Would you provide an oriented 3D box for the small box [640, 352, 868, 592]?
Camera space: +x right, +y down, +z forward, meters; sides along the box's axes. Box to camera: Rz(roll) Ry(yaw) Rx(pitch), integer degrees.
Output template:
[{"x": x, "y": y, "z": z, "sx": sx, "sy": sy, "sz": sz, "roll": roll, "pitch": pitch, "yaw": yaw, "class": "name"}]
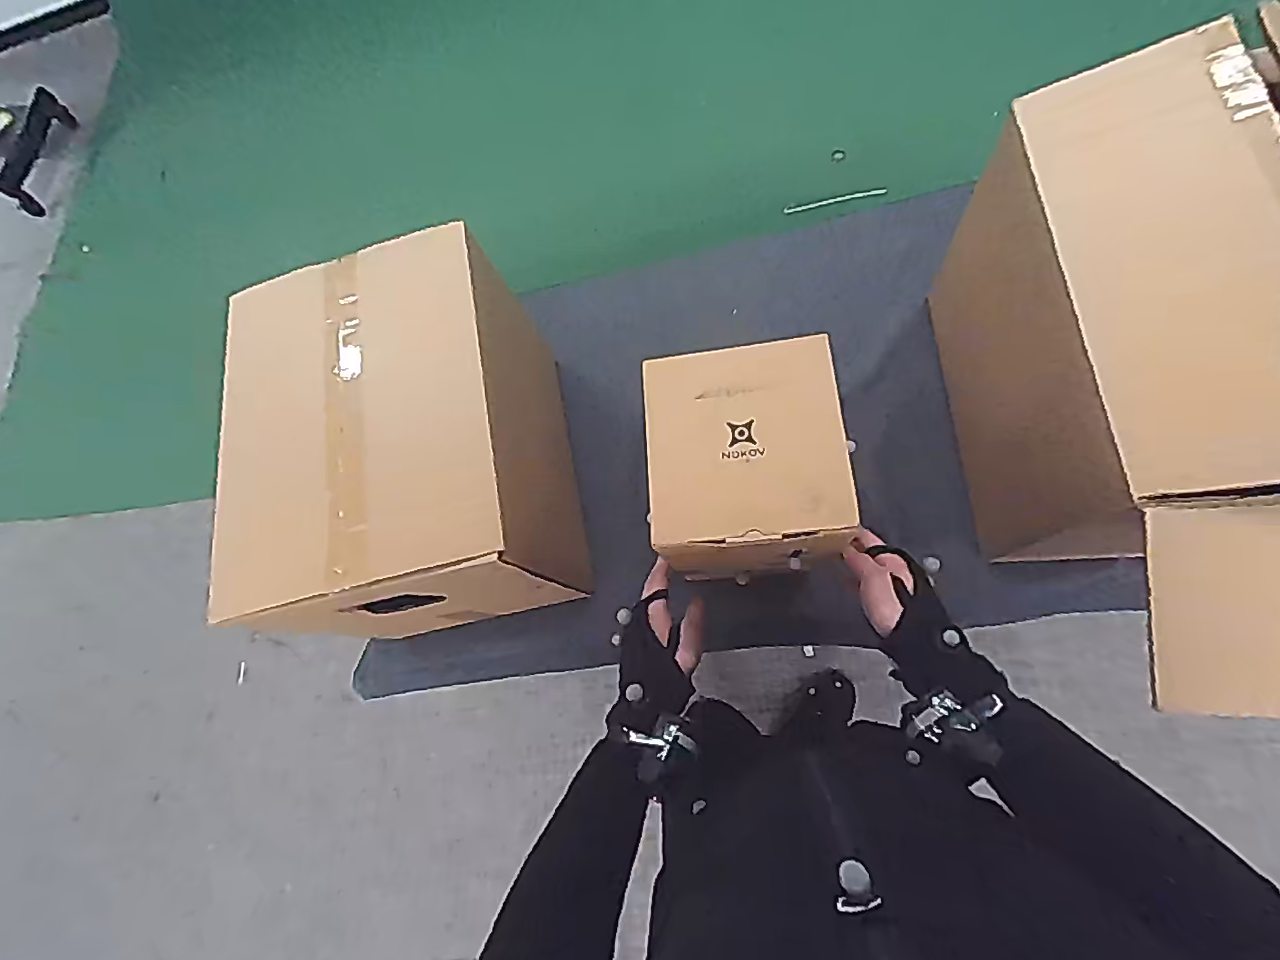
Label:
[{"x": 0.099, "y": 0.008, "z": 0.504, "sx": 0.168, "sy": 0.176, "sz": 0.179, "roll": -6, "pitch": 71, "yaw": 9, "class": "small box"}]
